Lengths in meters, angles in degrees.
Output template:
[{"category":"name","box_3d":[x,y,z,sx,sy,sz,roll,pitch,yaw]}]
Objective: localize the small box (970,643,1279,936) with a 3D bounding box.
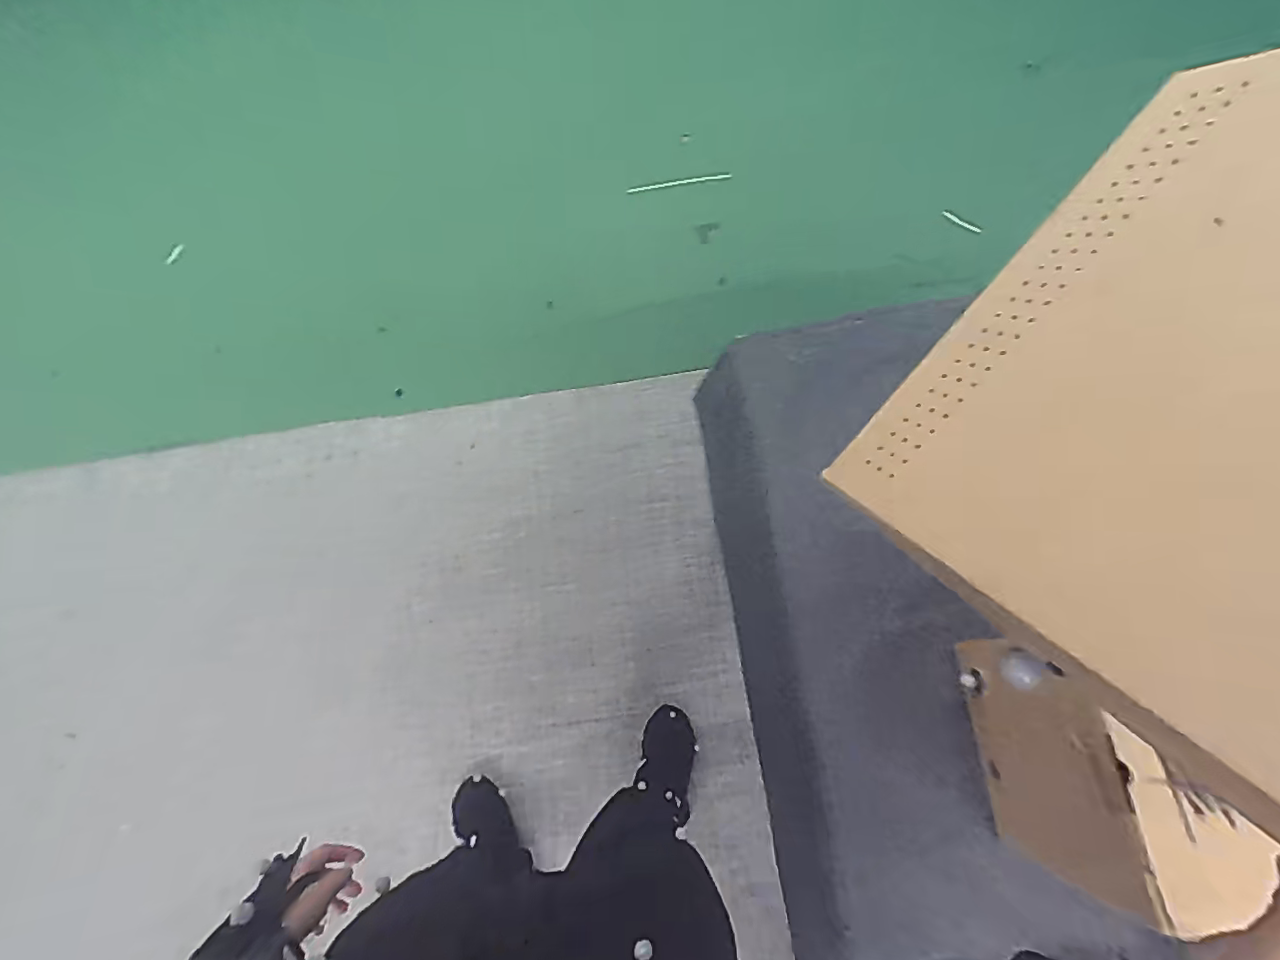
[{"category":"small box","box_3d":[0.377,0.199,0.398,0.179,0.176,0.168,-4,70,2]}]
